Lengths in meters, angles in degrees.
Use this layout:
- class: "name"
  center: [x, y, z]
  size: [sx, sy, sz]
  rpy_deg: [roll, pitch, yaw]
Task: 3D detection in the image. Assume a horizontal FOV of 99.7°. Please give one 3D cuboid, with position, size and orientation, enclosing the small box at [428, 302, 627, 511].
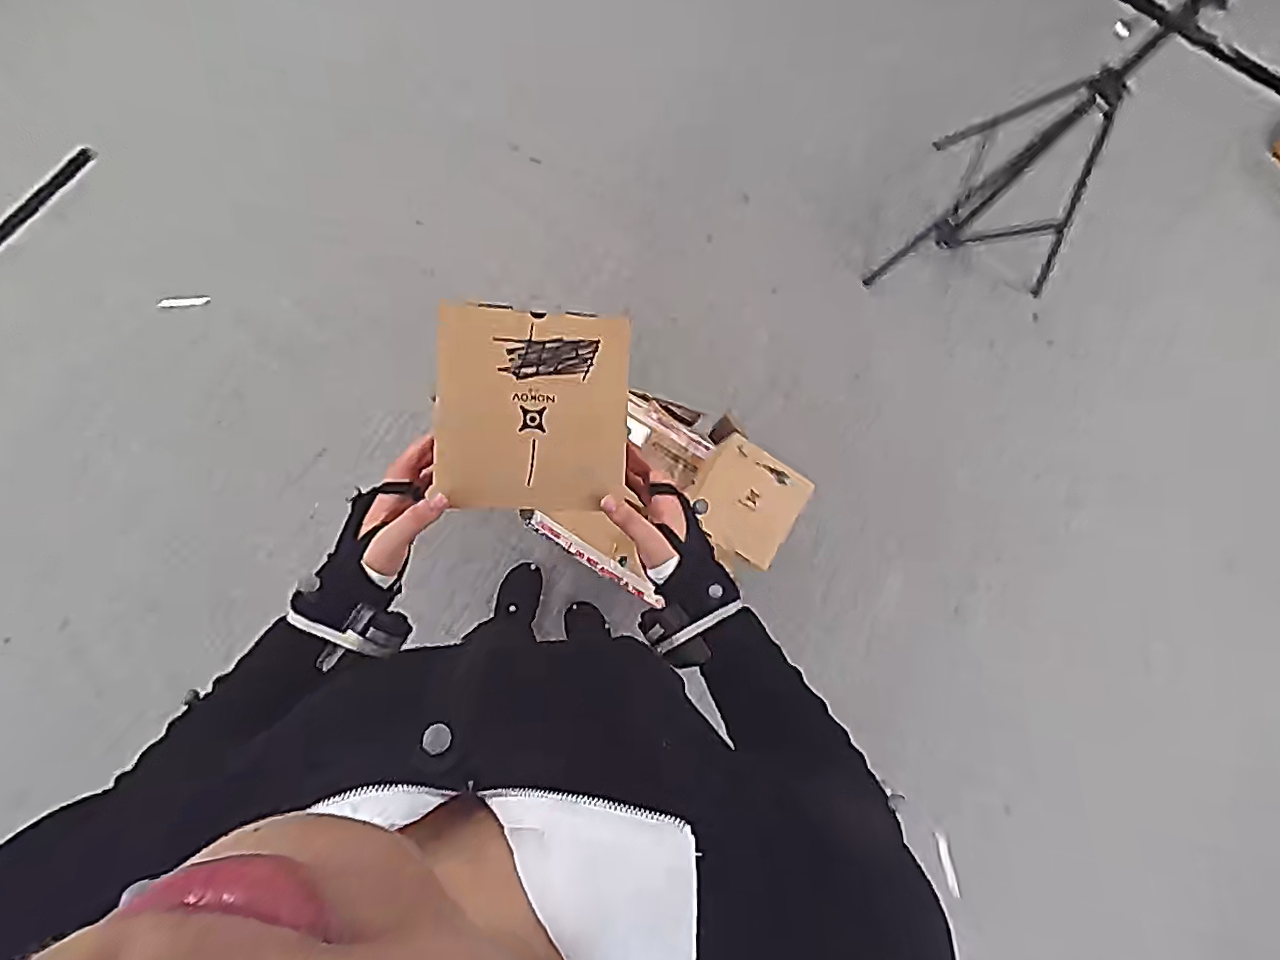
- class: "small box"
  center: [-0.109, -0.059, 0.542]
  size: [0.168, 0.176, 0.179]
  rpy_deg: [1, 89, -10]

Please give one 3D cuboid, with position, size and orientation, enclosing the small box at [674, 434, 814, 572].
- class: "small box"
  center: [0.175, 0.047, 0.974]
  size: [0.168, 0.176, 0.179]
  rpy_deg: [34, 81, -1]
